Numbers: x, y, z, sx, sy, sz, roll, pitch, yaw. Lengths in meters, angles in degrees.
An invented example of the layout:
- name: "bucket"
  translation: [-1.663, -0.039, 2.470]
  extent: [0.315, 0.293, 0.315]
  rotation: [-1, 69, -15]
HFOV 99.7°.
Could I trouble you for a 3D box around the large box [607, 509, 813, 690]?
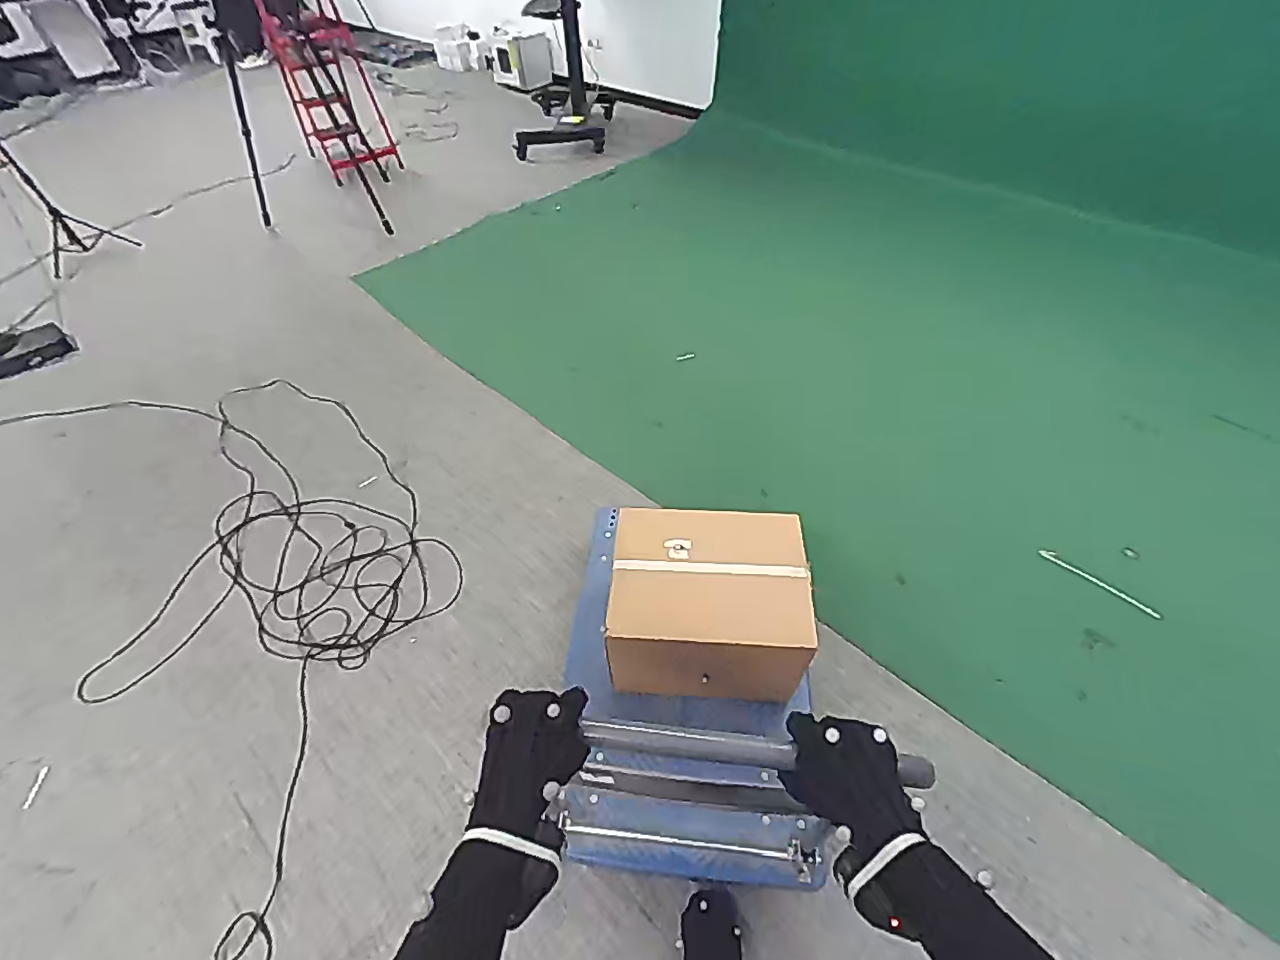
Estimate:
- name: "large box"
  translation: [0.148, 0.279, 1.250]
  extent: [0.408, 0.320, 0.320]
  rotation: [1, 50, 4]
